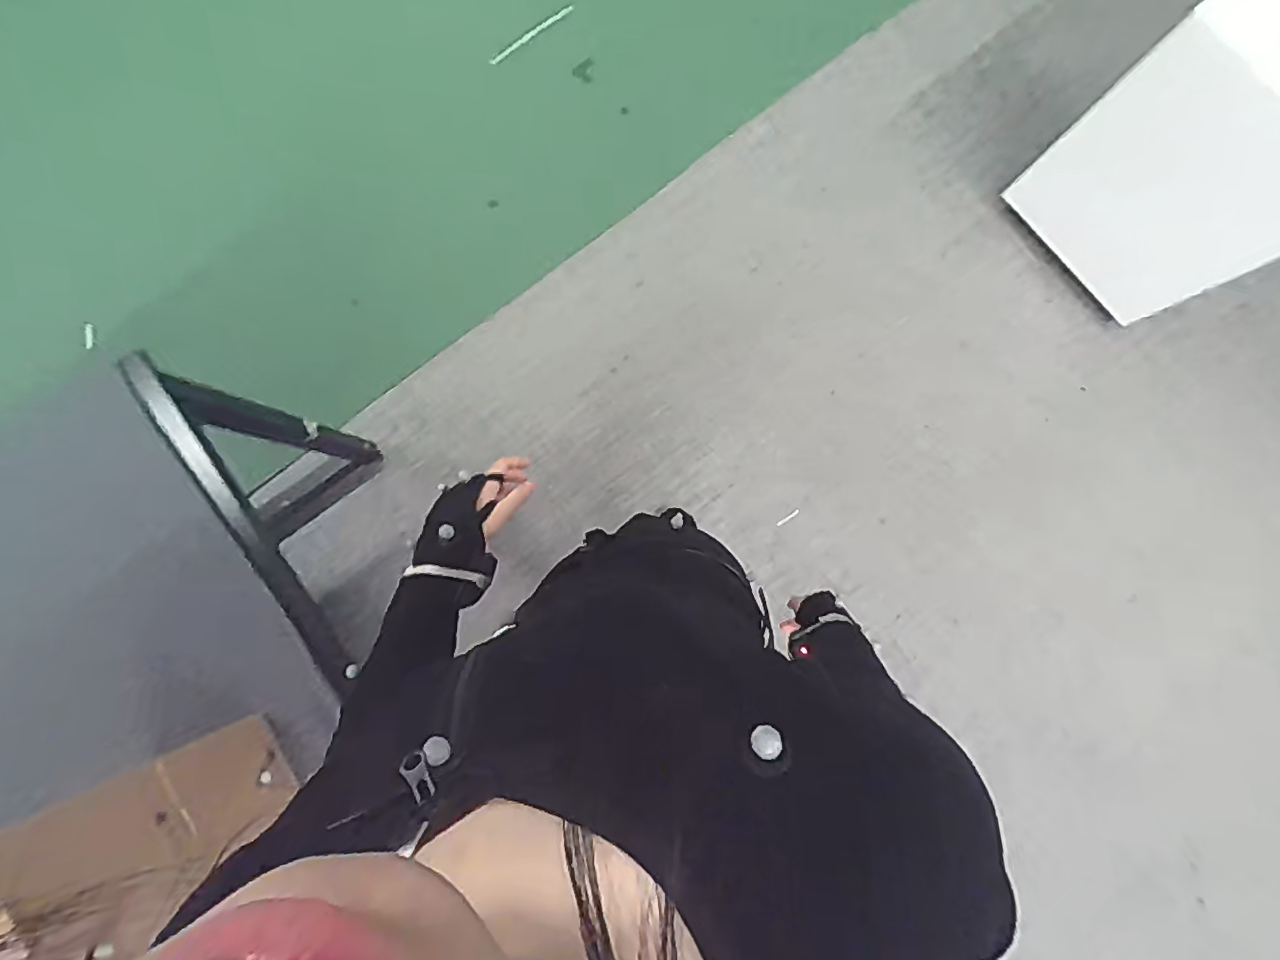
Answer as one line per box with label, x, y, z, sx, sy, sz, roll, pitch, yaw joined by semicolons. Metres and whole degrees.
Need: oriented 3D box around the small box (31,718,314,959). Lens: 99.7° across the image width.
small box;-0.563;0.436;0.676;0.179;0.176;0.168;-32;85;-2
